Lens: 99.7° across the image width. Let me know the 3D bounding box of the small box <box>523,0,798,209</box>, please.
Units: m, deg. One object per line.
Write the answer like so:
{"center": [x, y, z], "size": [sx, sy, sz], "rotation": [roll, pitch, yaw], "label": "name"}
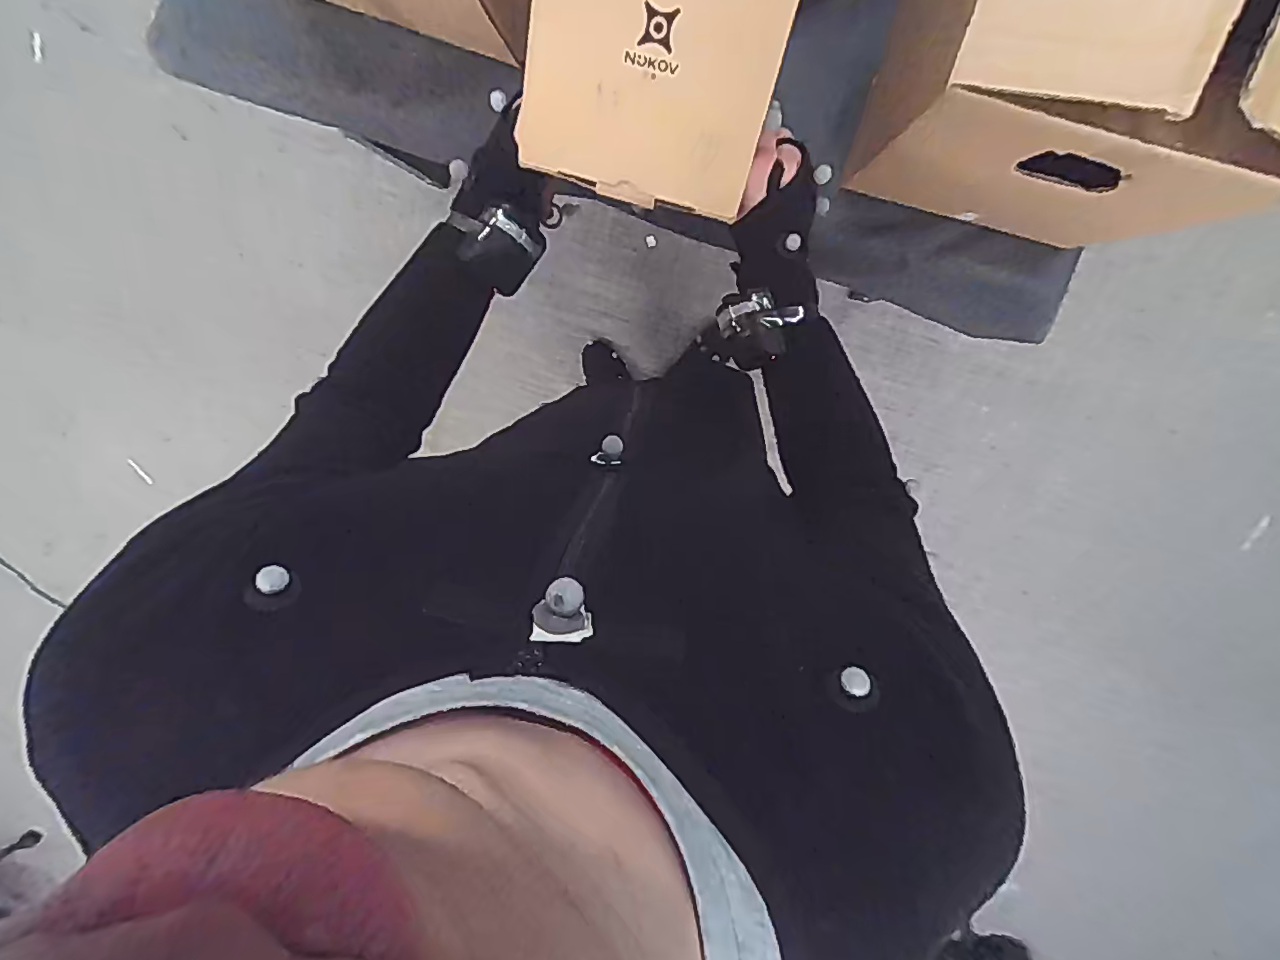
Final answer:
{"center": [0.023, -0.329, 0.417], "size": [0.168, 0.176, 0.179], "rotation": [15, 120, 0], "label": "small box"}
